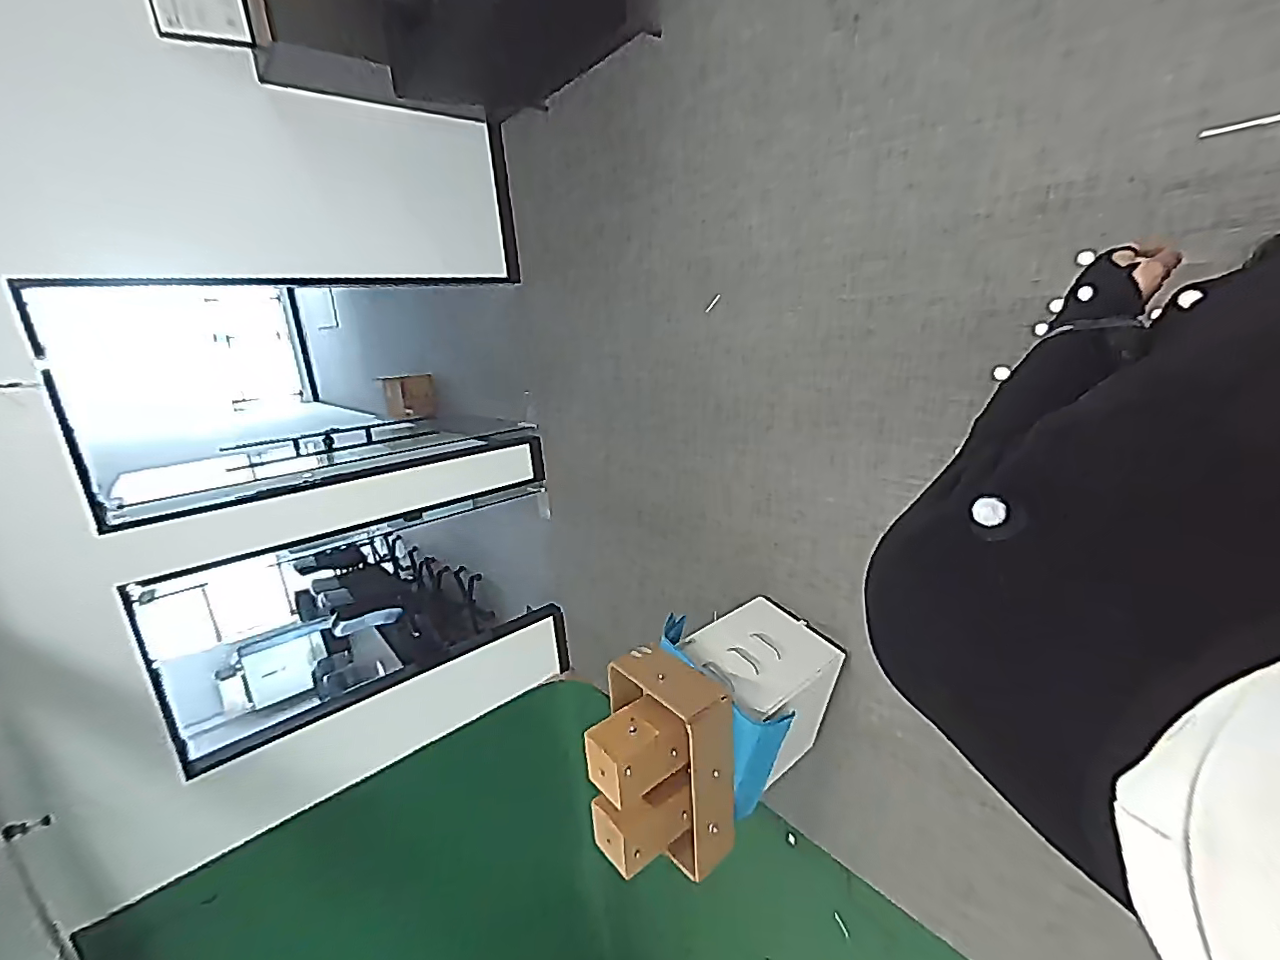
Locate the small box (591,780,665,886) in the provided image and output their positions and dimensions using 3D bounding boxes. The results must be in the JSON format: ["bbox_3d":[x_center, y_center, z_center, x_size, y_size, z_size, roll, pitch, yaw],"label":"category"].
[{"bbox_3d":[-0.035,1.088,1.680,0.168,0.176,0.179,15,113,49],"label":"small box"}]
